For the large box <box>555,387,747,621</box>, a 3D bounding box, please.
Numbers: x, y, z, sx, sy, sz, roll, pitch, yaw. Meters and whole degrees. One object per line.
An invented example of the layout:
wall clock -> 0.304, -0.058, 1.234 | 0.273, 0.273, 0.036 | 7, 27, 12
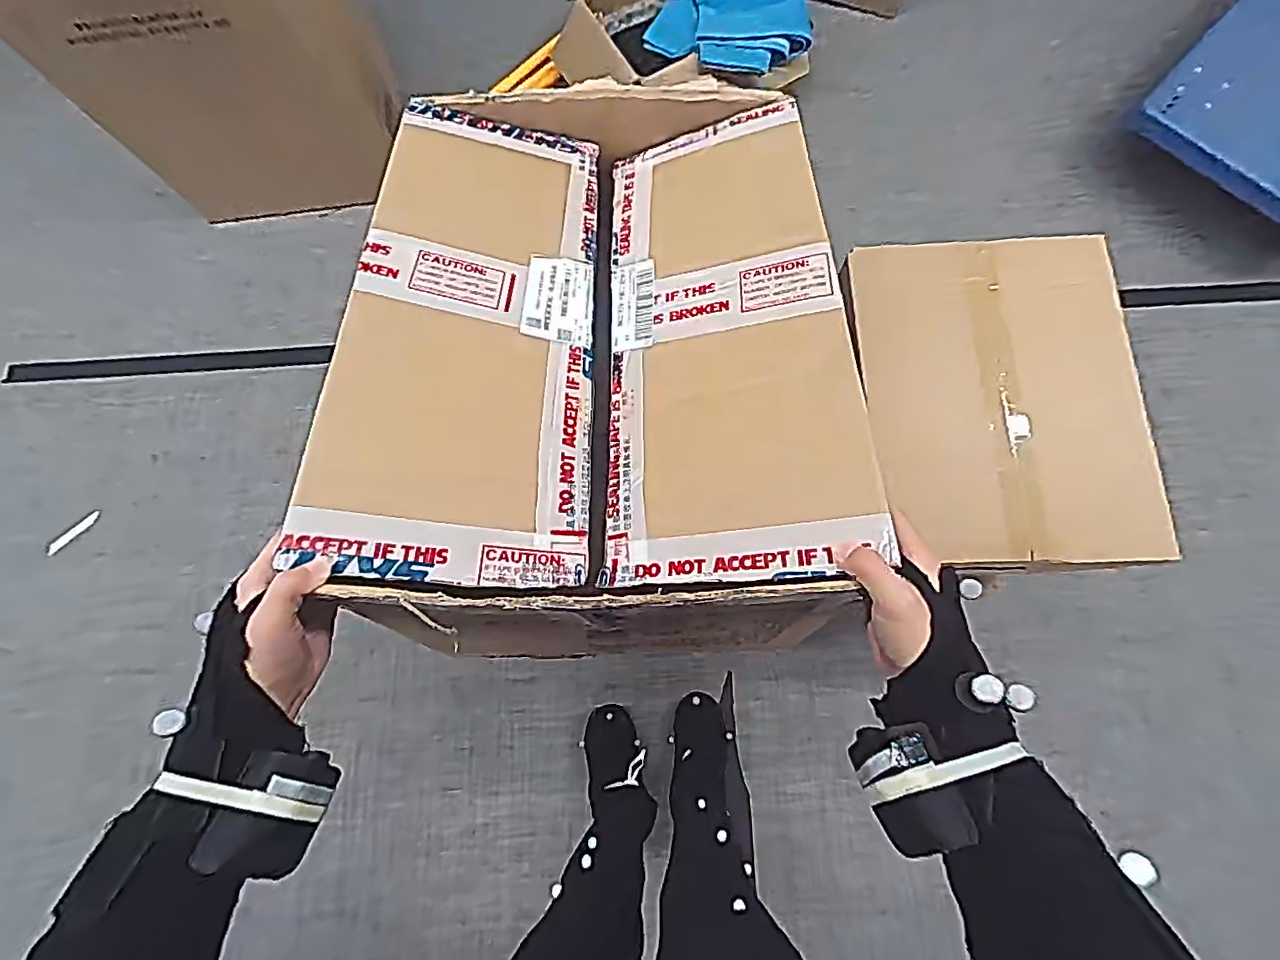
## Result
large box -> 0.013, 0.062, 1.095 | 0.320, 0.320, 0.408 | -4, 77, 1
